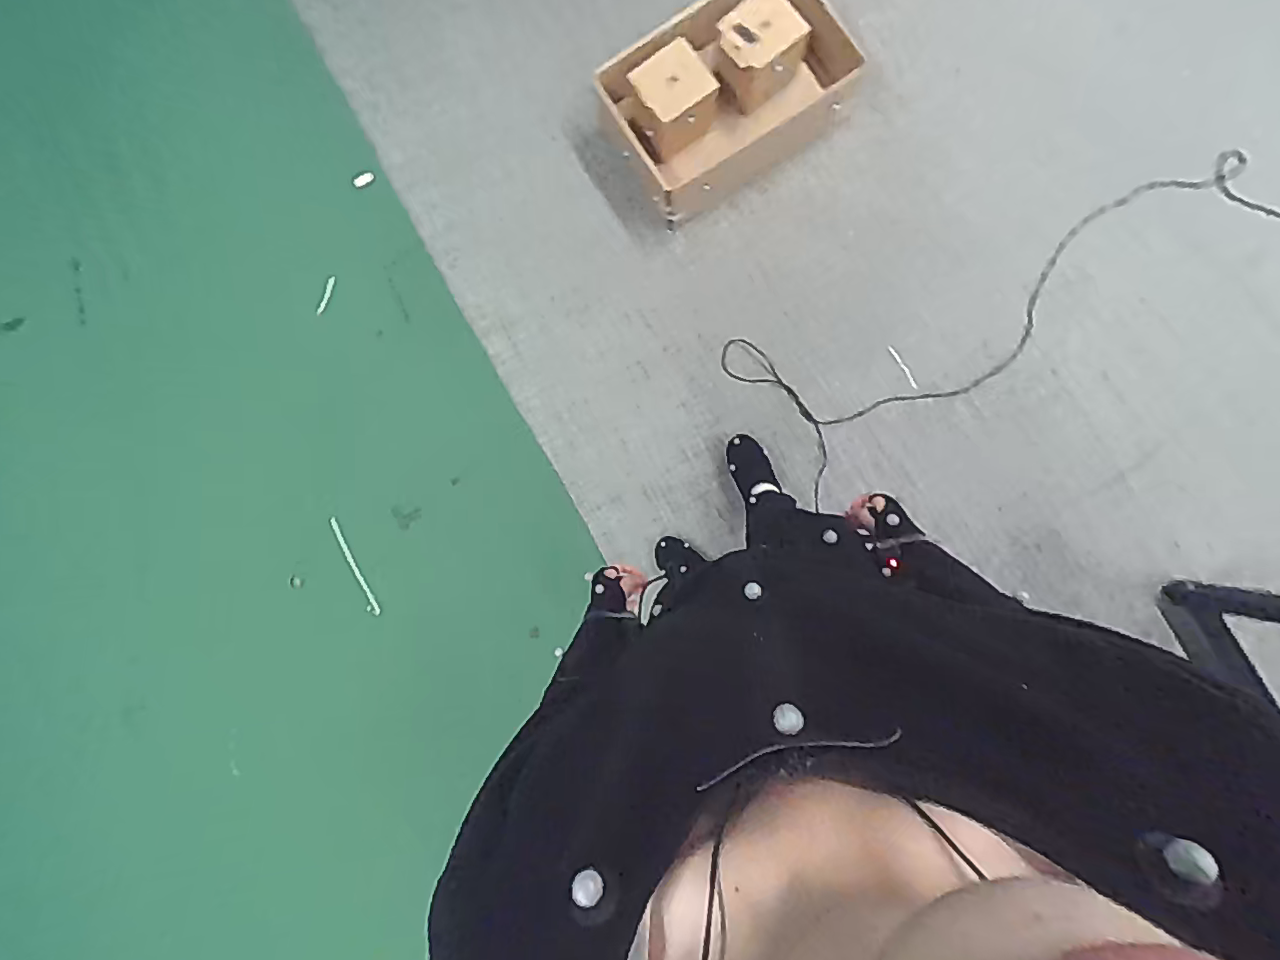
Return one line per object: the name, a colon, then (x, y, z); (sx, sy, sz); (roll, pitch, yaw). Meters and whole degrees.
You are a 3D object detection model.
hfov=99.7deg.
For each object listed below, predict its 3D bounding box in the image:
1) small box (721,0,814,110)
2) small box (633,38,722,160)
small box: (0.332, -1.150, 1.447); (0.179, 0.176, 0.168); (-39, 85, 2)
small box: (0.102, -1.016, 1.460); (0.179, 0.176, 0.168); (-35, 86, 1)
